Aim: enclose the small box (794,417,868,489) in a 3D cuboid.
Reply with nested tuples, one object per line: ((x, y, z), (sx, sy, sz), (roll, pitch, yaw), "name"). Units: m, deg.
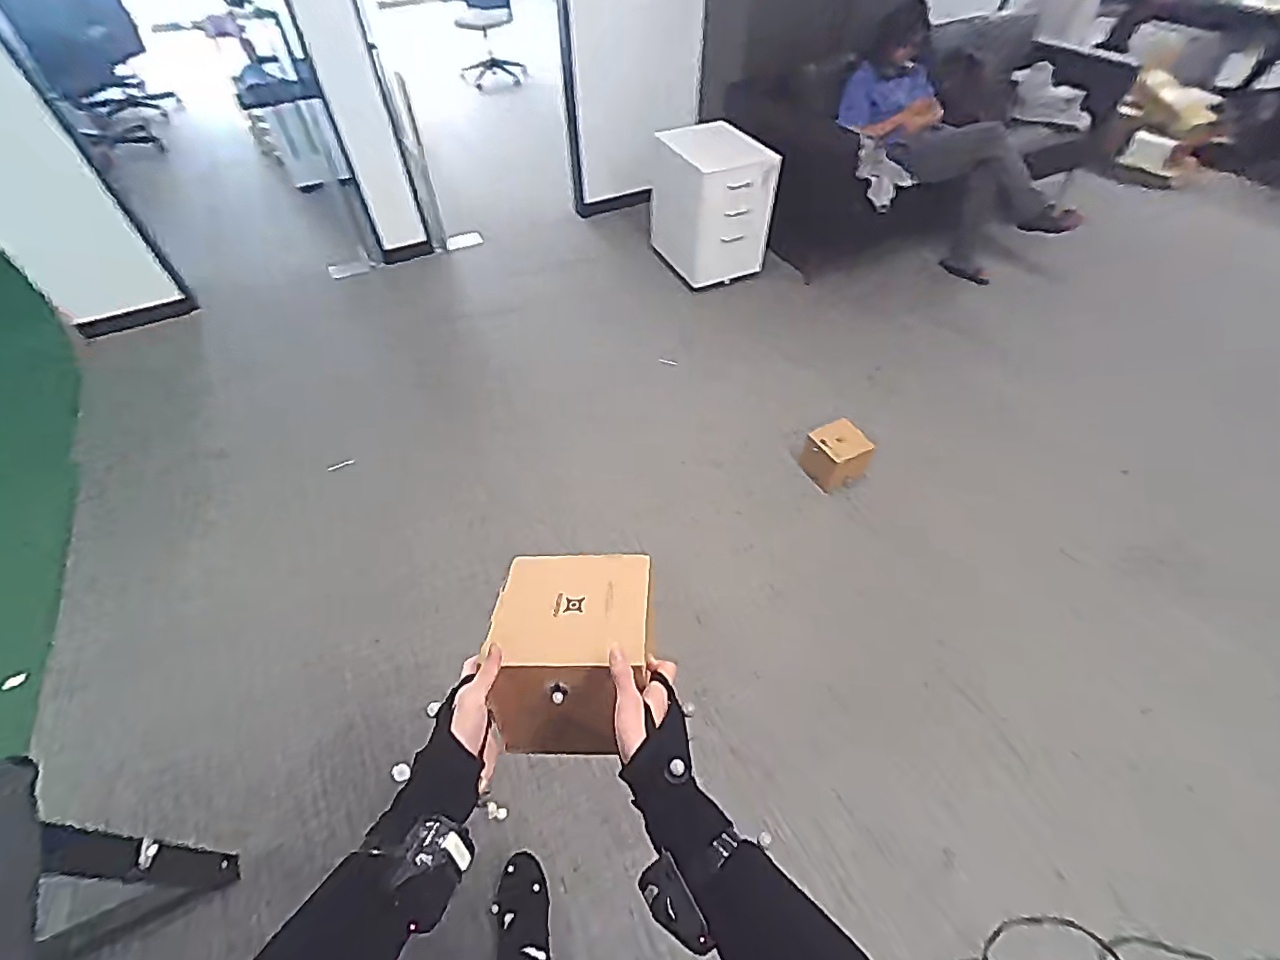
((0.695, -0.099, 1.993), (0.179, 0.176, 0.168), (-21, 53, -17), "small box")

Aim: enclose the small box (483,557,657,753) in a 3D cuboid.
((-0.070, 0.211, 0.661), (0.179, 0.176, 0.168), (-1, 35, 3), "small box")
